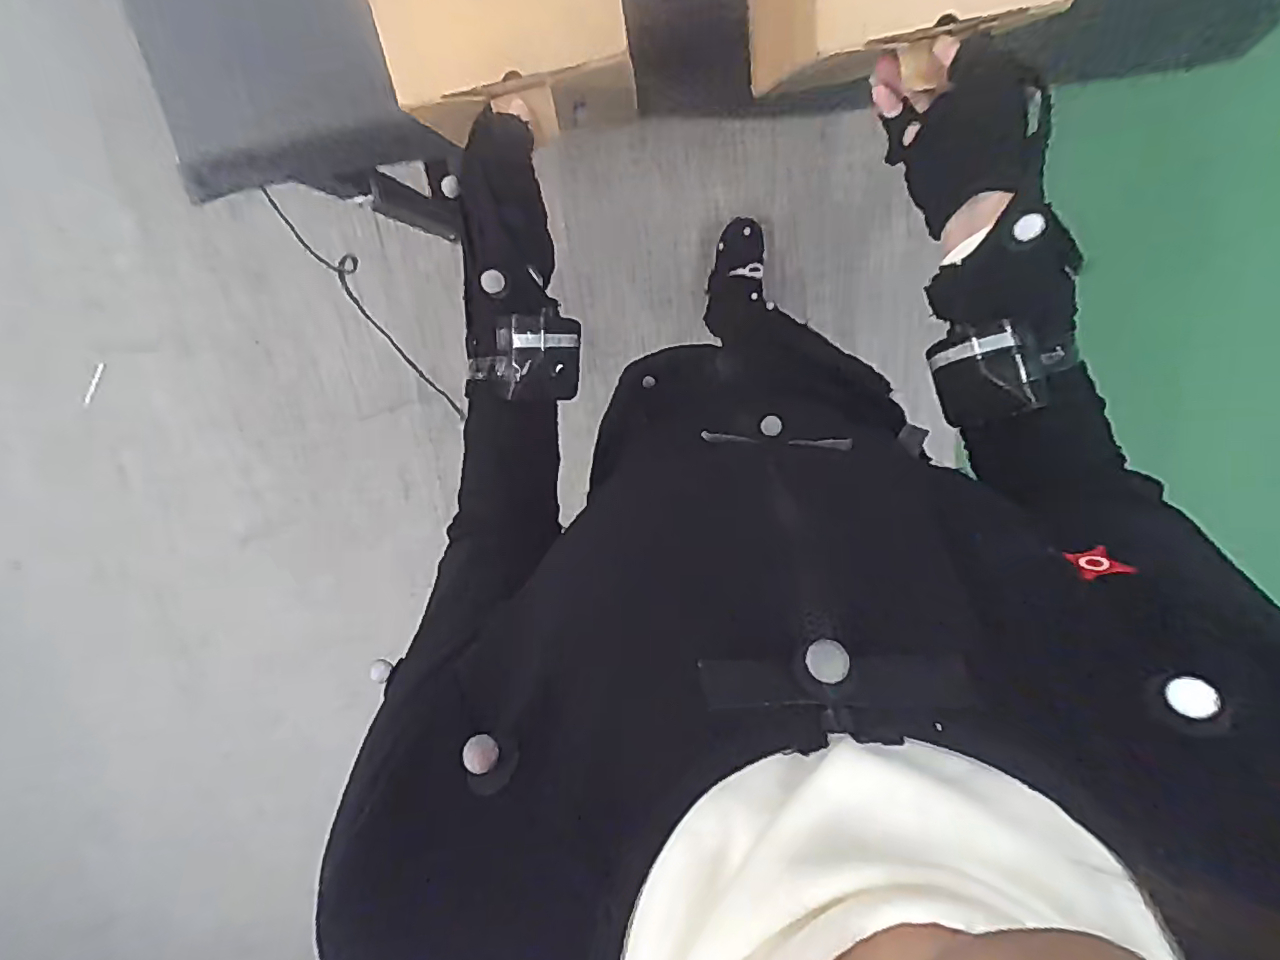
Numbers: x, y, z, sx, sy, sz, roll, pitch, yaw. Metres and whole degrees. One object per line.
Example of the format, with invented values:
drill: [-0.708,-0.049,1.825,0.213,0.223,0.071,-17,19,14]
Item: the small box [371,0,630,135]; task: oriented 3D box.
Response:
small box: [-0.103,-0.389,0.416,0.168,0.176,0.179,-10,110,4]
